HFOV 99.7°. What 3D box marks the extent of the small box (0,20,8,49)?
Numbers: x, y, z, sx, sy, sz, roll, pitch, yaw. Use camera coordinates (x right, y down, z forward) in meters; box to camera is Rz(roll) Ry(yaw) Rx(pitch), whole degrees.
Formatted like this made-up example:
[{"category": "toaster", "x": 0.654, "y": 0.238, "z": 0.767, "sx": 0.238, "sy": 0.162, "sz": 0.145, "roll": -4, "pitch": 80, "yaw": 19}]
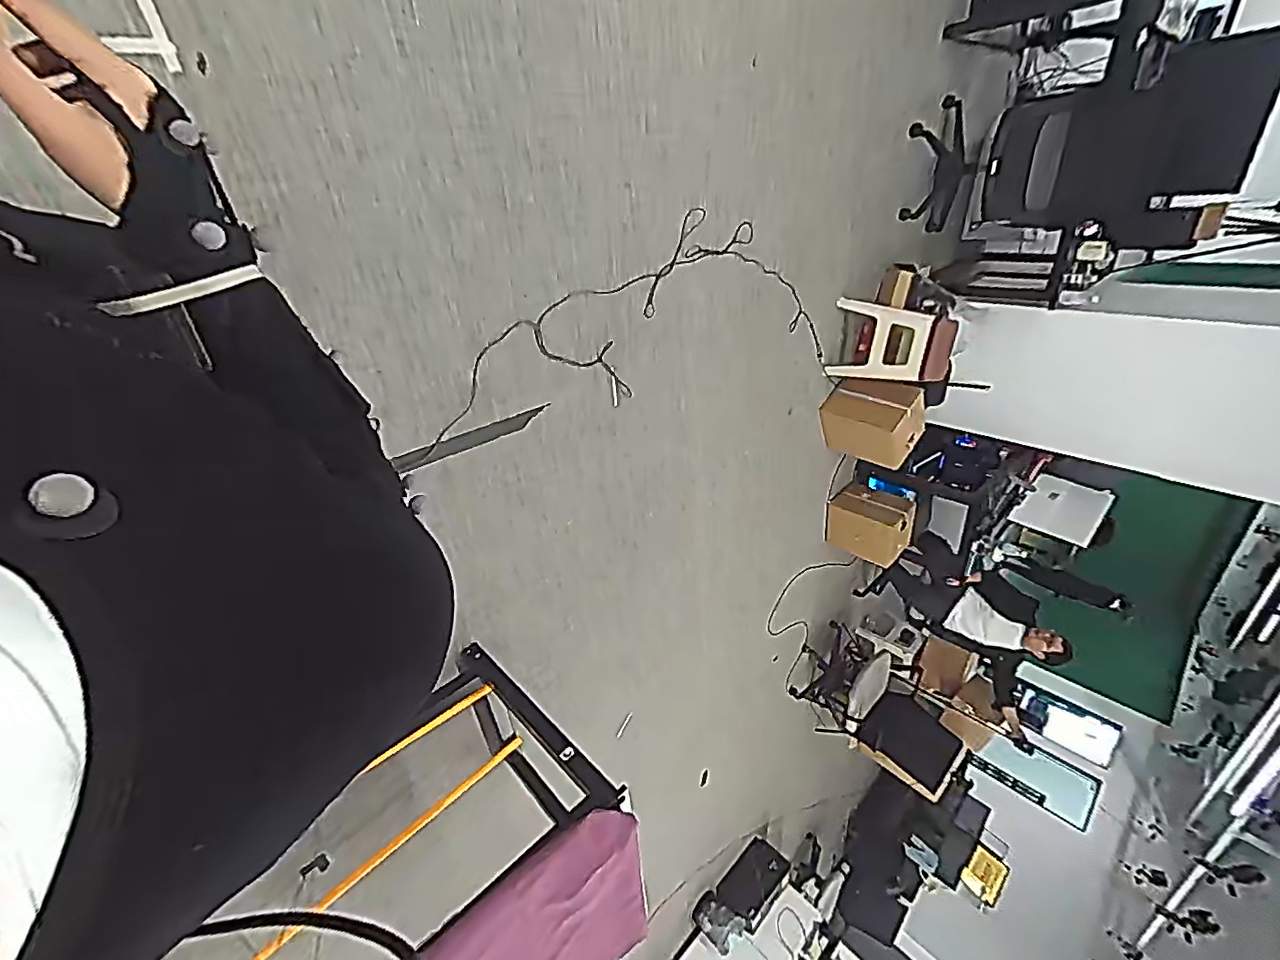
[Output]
[{"category": "small box", "x": -0.415, "y": -0.296, "z": 0.219, "sx": 0.179, "sy": 0.176, "sz": 0.168, "roll": -15, "pitch": 123, "yaw": -41}]
